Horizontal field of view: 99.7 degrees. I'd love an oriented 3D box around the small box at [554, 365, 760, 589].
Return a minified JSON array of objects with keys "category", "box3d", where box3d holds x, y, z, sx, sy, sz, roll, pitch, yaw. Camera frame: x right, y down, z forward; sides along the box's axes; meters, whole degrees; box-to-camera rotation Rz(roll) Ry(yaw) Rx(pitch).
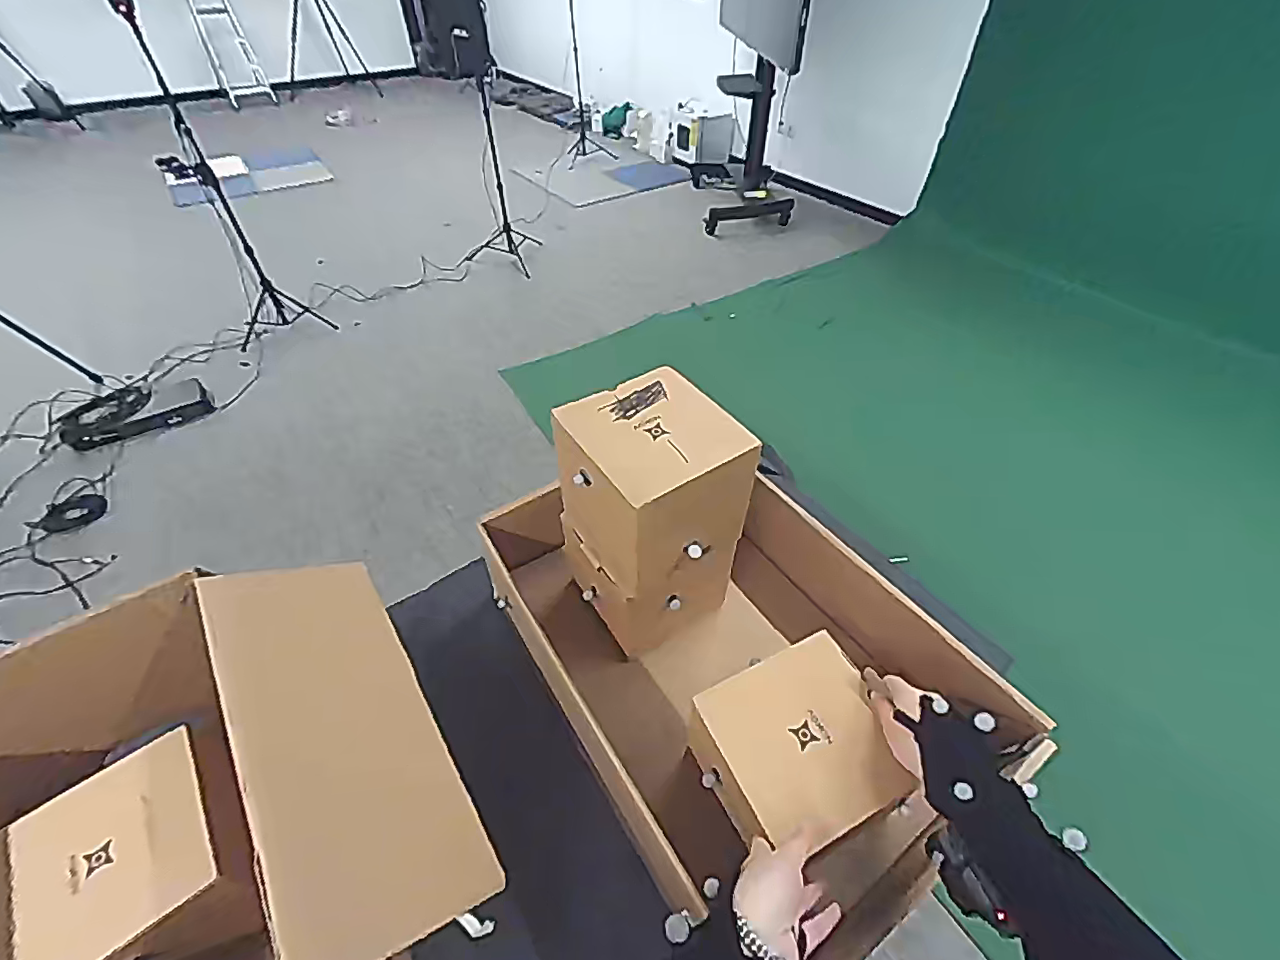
[{"category":"small box","box3d":[0.013,-0.004,0.649,0.168,0.176,0.179,-26,54,-23]}]
